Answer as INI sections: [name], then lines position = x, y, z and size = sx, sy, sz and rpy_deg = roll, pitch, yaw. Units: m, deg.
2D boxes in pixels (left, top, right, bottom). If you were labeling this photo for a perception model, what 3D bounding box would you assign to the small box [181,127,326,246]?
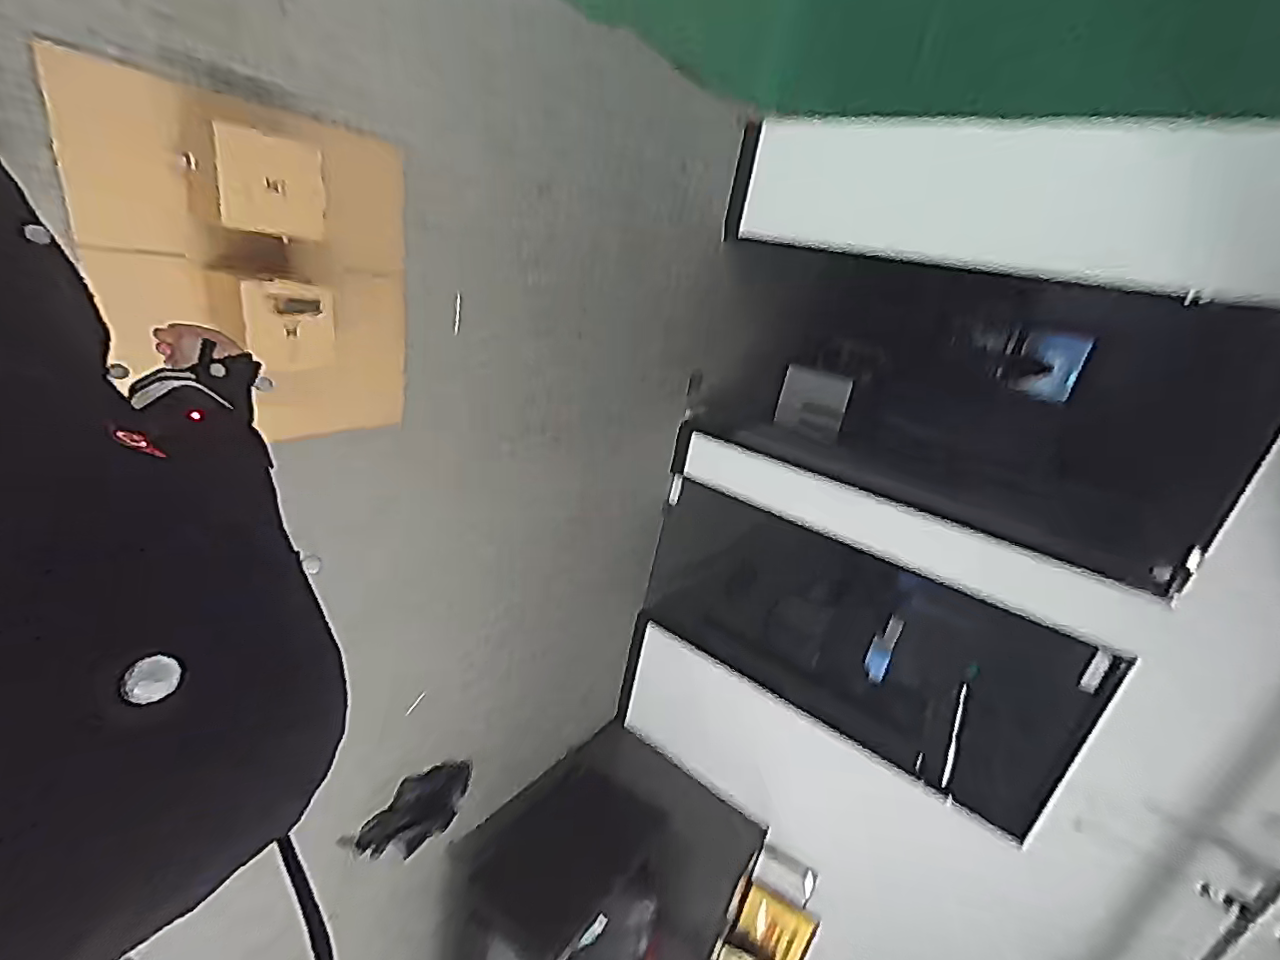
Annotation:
[small box]
position = -0.729, -0.555, 1.028
size = 0.179, 0.176, 0.168
rpy_deg = -17, 124, -51
